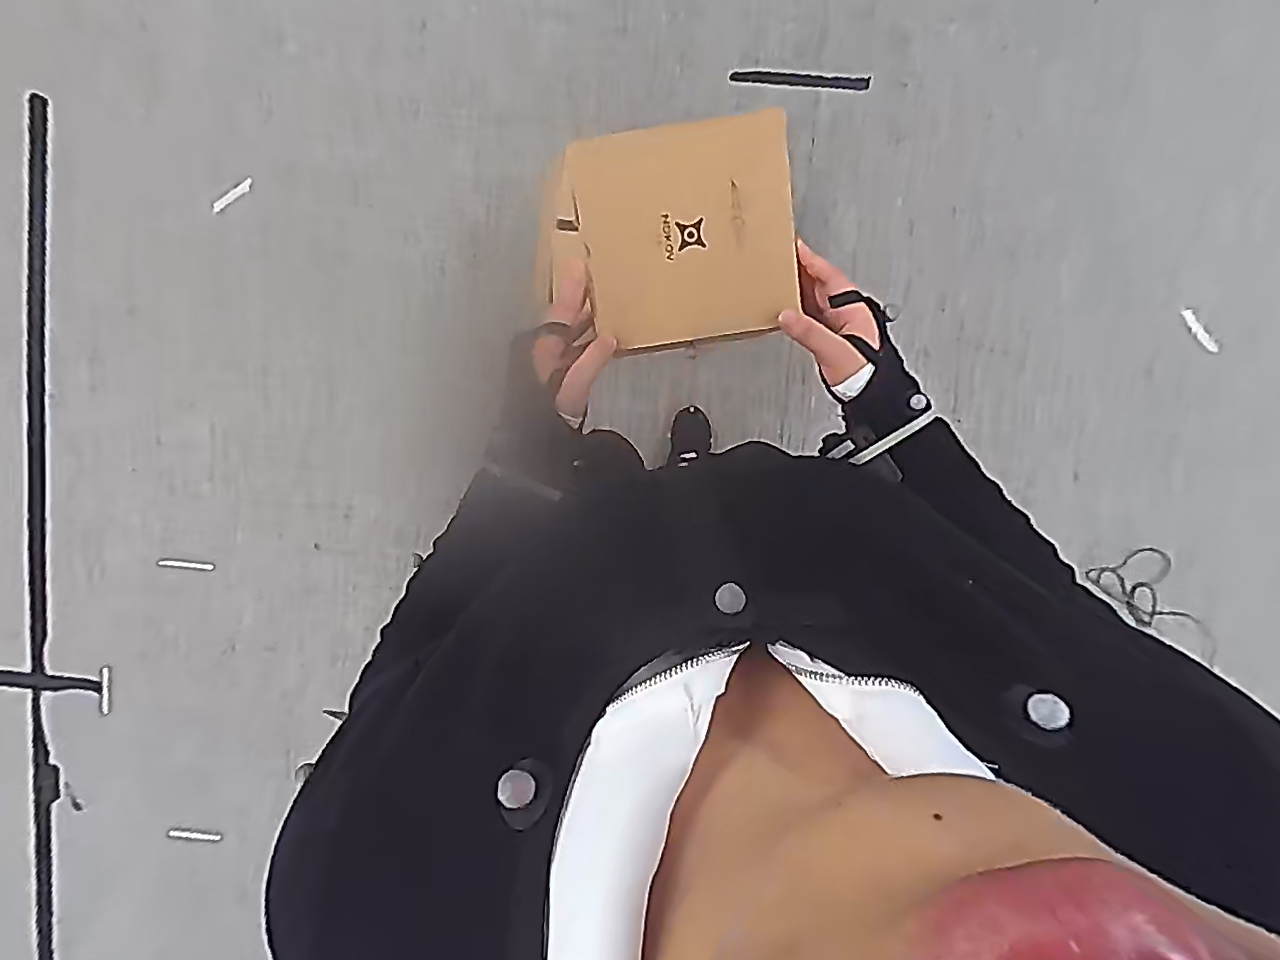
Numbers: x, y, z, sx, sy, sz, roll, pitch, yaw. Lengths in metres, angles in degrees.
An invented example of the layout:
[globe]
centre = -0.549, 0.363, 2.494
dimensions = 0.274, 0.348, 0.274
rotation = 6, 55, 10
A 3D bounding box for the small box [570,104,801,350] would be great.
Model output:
[small box]
centre = 0.042, -0.224, 0.528
dimensions = 0.179, 0.176, 0.168
rotation = -9, 102, 3
